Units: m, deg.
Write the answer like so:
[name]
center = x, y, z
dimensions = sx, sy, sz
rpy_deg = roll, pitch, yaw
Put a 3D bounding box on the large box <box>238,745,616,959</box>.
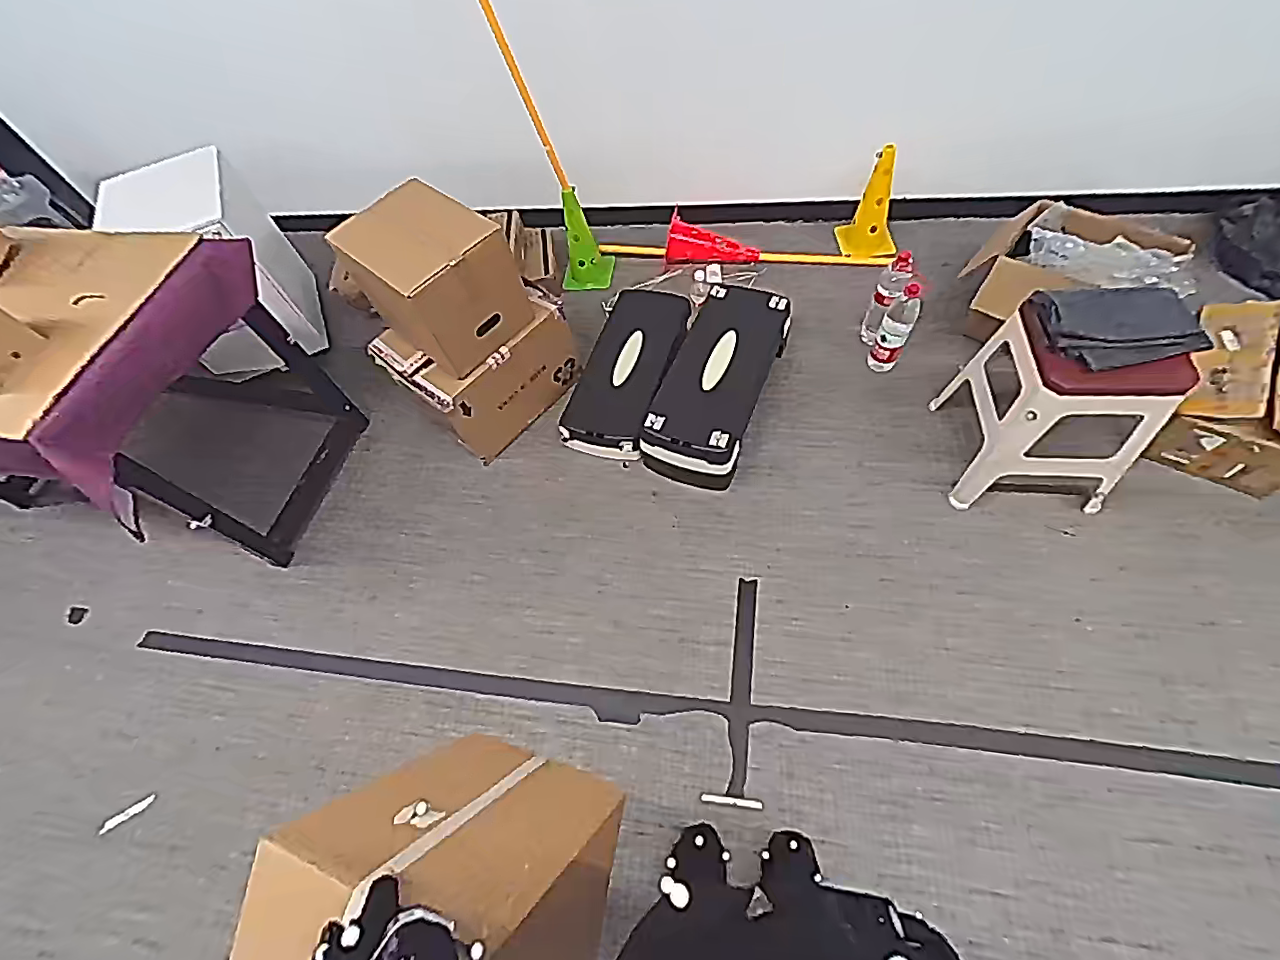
[large box]
center = -0.266, 0.633, 0.747
dimensions = 0.320, 0.408, 0.320
rpy_deg = 9, 85, 19
